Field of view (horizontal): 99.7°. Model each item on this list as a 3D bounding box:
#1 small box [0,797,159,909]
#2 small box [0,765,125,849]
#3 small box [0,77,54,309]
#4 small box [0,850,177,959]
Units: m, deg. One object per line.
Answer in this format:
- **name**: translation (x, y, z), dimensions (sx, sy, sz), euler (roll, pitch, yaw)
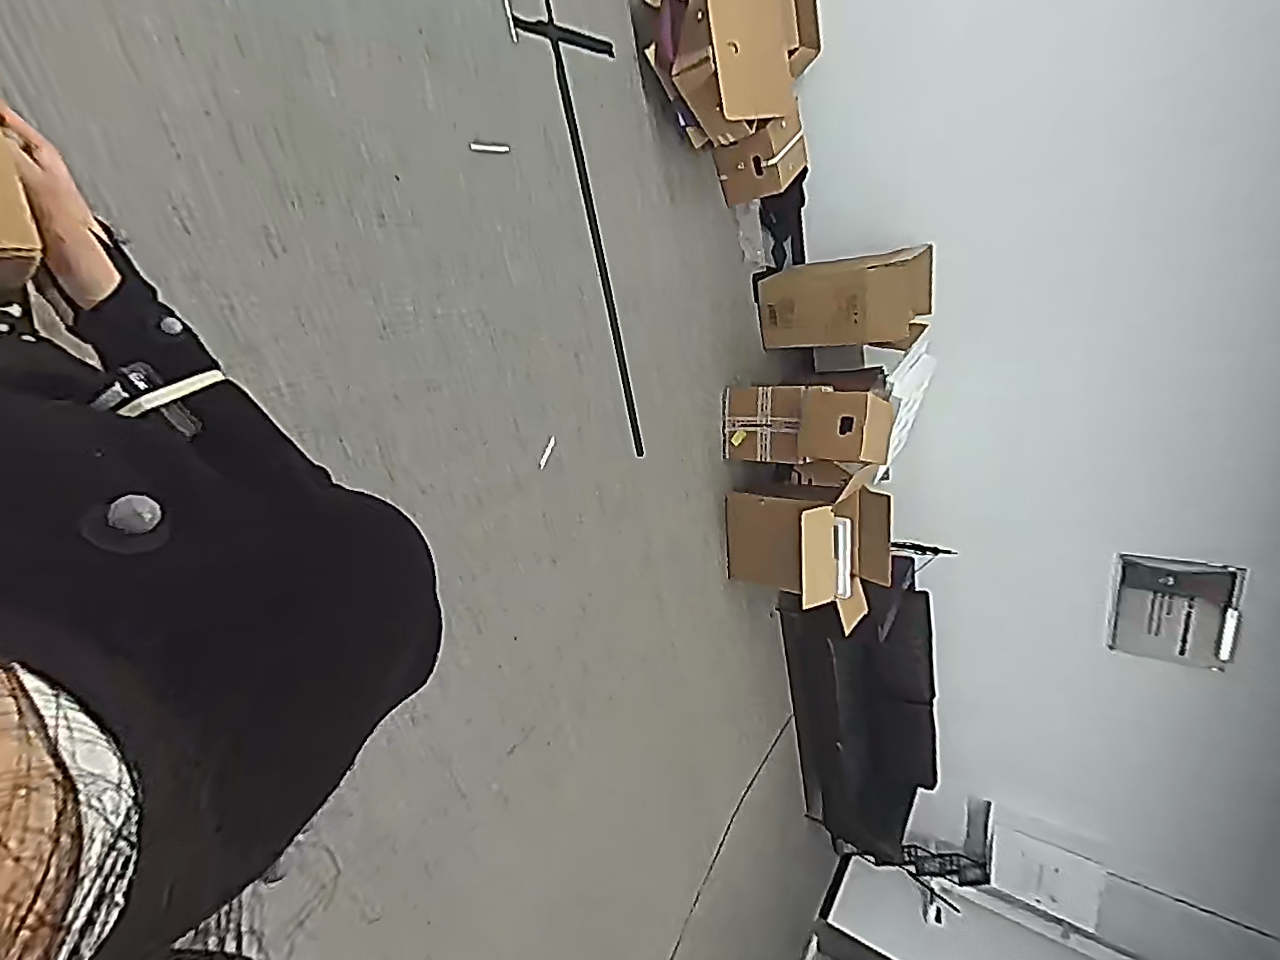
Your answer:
- **small box**: translation (-0.977, 0.687, 0.917), dimensions (0.179, 0.176, 0.168), euler (-31, 117, -47)
- **small box**: translation (-1.111, 0.682, 1.014), dimensions (0.179, 0.176, 0.168), euler (-34, 120, -46)
- **small box**: translation (-0.452, -0.187, 0.276), dimensions (0.168, 0.176, 0.179), euler (-23, 108, -52)
- **small box**: translation (-0.852, 0.703, 0.812), dimensions (0.168, 0.176, 0.179), euler (-32, 117, -46)
